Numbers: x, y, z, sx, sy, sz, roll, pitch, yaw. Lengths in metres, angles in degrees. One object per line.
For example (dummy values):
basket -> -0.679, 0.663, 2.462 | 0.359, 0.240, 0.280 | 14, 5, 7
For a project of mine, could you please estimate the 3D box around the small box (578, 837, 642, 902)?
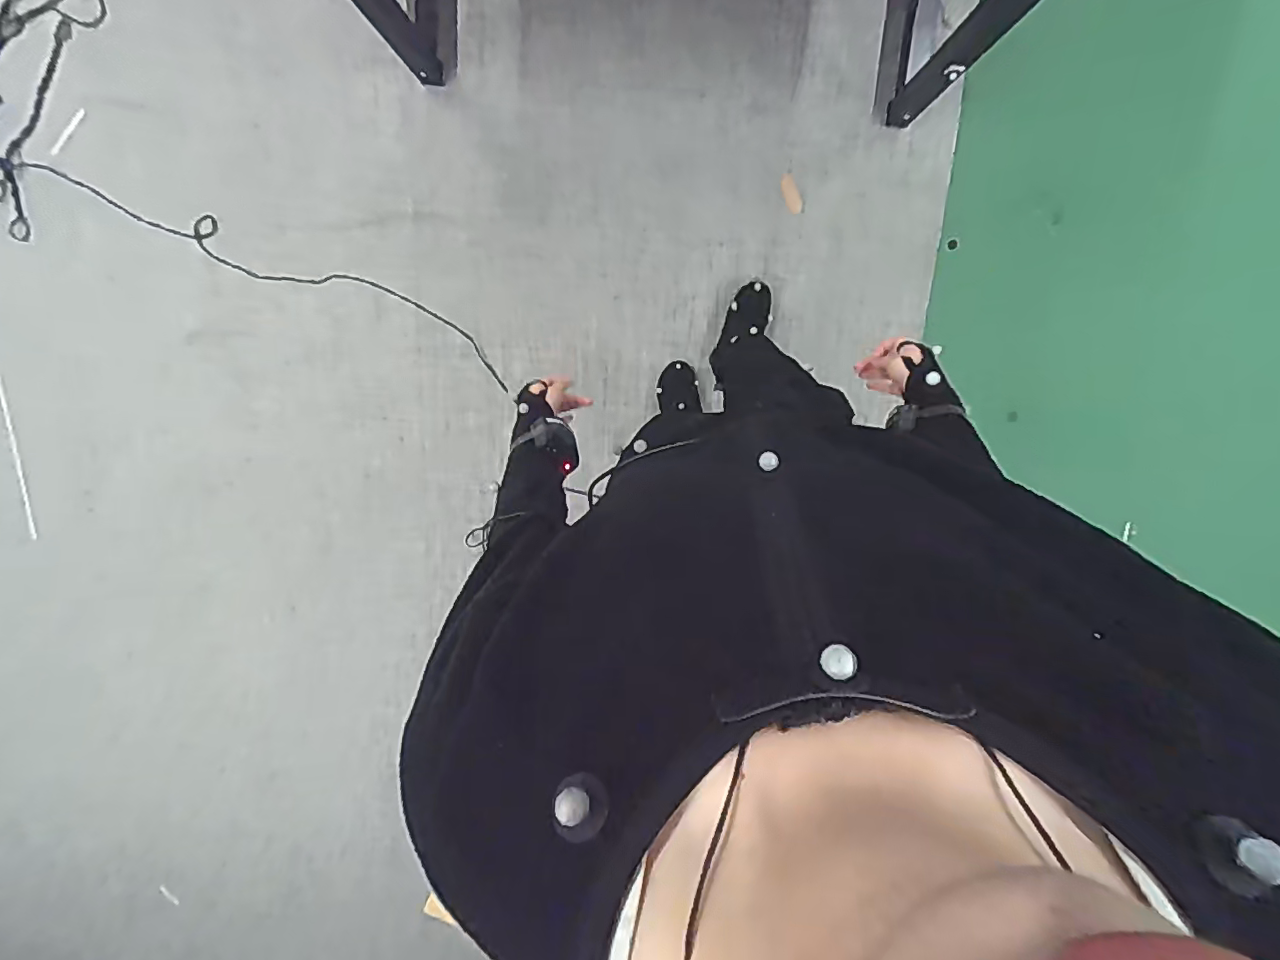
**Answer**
small box -> -0.081, 1.124, 1.491 | 0.168, 0.176, 0.179 | 2, 103, 1

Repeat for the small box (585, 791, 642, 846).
small box -> -0.079, 1.083, 1.651 | 0.168, 0.176, 0.179 | 2, 103, 1

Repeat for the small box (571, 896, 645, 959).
small box -> -0.076, 1.171, 1.333 | 0.179, 0.176, 0.168 | 1, 102, 2
